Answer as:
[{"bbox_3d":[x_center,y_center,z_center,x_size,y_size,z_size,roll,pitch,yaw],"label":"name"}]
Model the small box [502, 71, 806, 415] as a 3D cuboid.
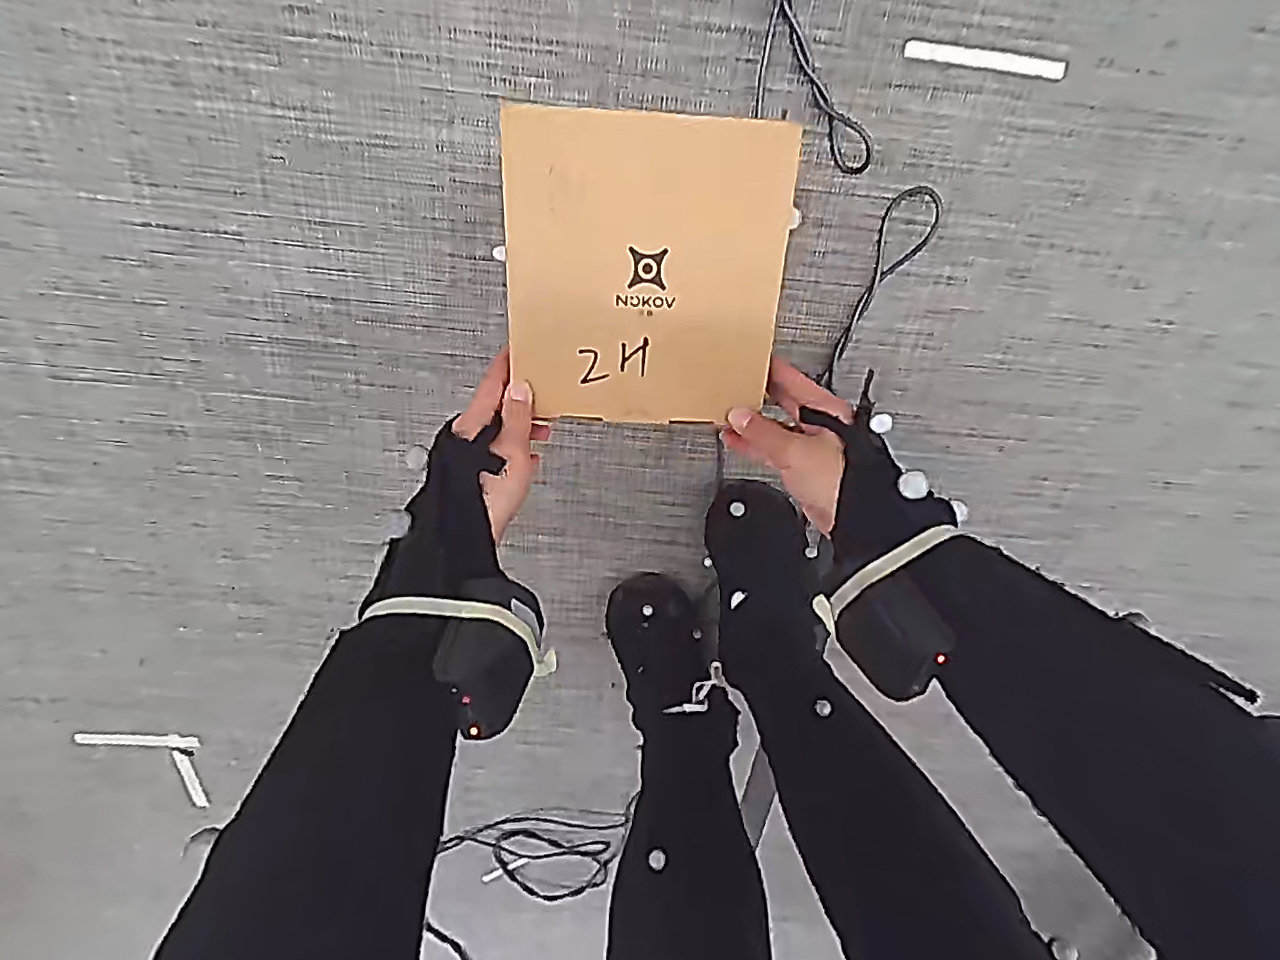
[{"bbox_3d":[0.000,-0.157,0.388,0.168,0.176,0.179,3,113,-2],"label":"small box"}]
